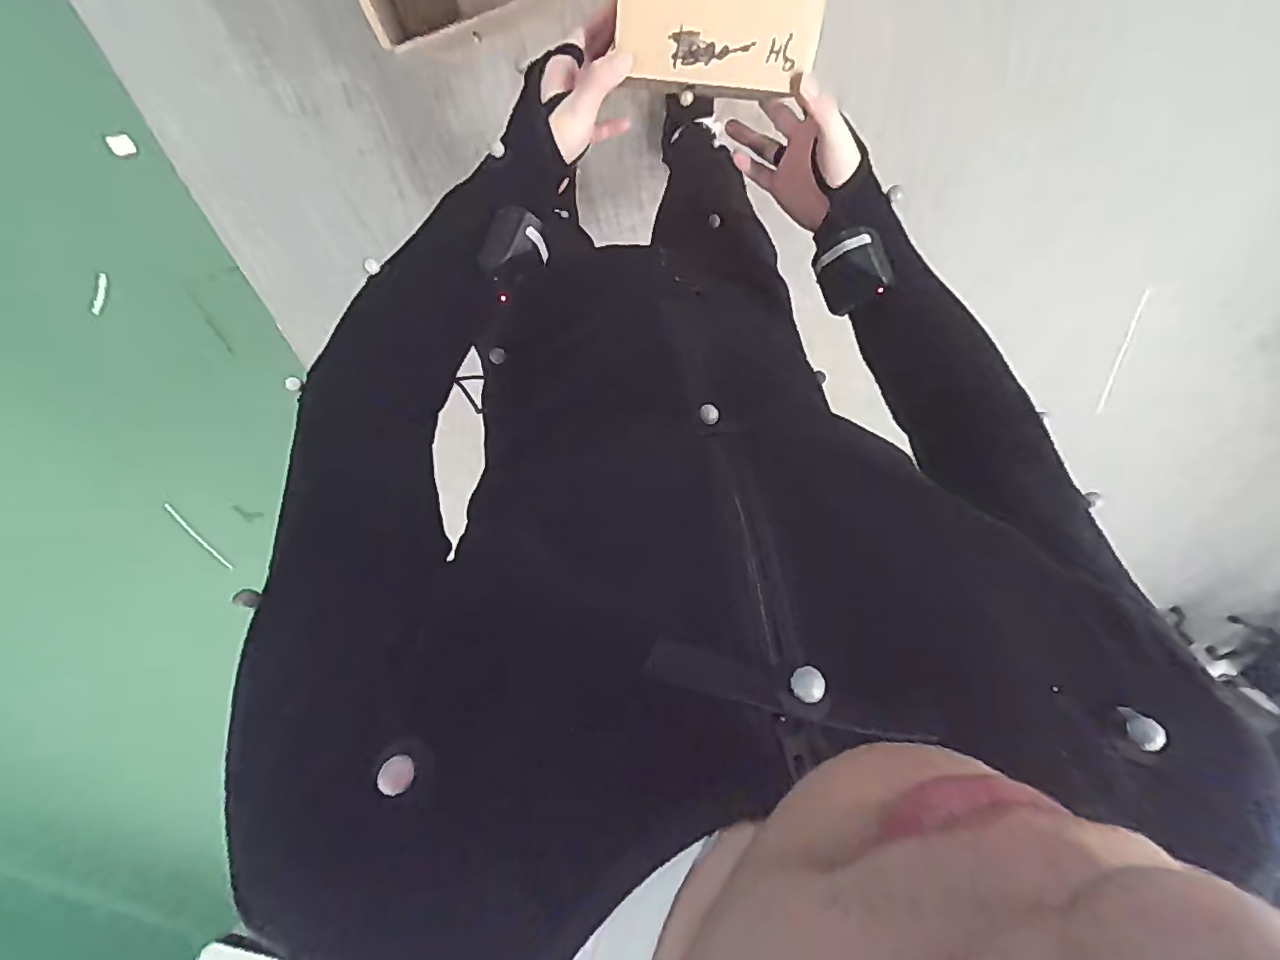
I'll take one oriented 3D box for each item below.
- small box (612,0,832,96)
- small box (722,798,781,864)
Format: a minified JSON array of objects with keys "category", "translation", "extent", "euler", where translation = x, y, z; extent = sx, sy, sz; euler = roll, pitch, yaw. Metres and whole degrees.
[{"category":"small box","translation":[0.064,-0.444,0.459],"extent":[0.168,0.176,0.179],"euler":[2,123,-6]},{"category":"small box","translation":[0.400,1.265,1.926],"extent":[0.168,0.176,0.179],"euler":[-15,129,1]}]
